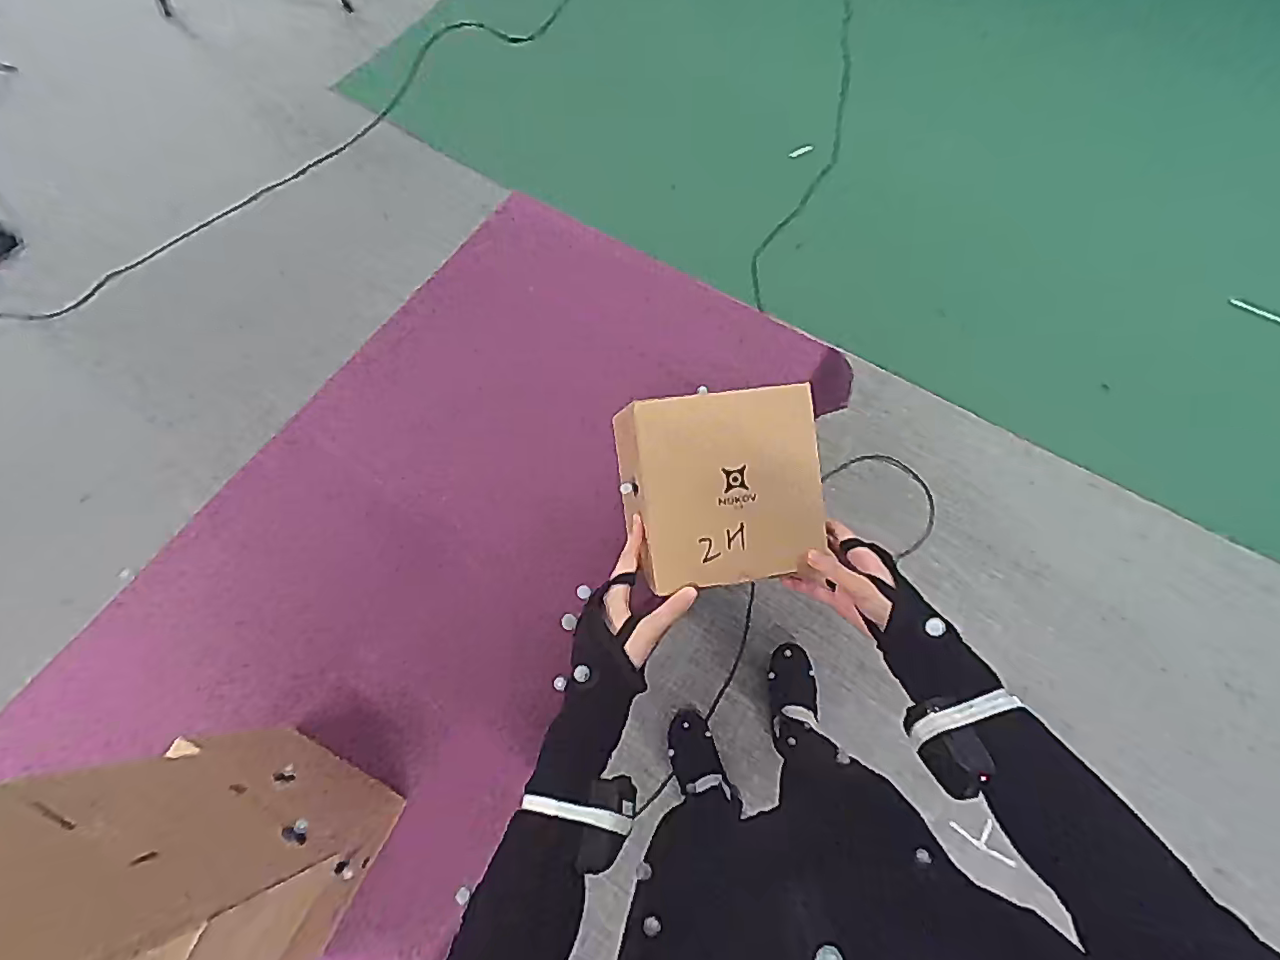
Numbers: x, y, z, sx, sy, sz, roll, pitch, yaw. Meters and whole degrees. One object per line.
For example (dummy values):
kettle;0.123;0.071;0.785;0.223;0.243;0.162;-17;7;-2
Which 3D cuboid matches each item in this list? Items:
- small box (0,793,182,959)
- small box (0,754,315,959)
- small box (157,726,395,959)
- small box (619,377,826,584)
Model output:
small box;-0.364;0.259;0.226;0.179;0.176;0.168;21;71;11
small box;-0.372;0.318;0.378;0.168;0.176;0.179;25;72;11
small box;-0.386;0.362;0.537;0.179;0.176;0.168;25;72;12
small box;0.072;-0.001;0.560;0.168;0.176;0.179;-6;92;-7
